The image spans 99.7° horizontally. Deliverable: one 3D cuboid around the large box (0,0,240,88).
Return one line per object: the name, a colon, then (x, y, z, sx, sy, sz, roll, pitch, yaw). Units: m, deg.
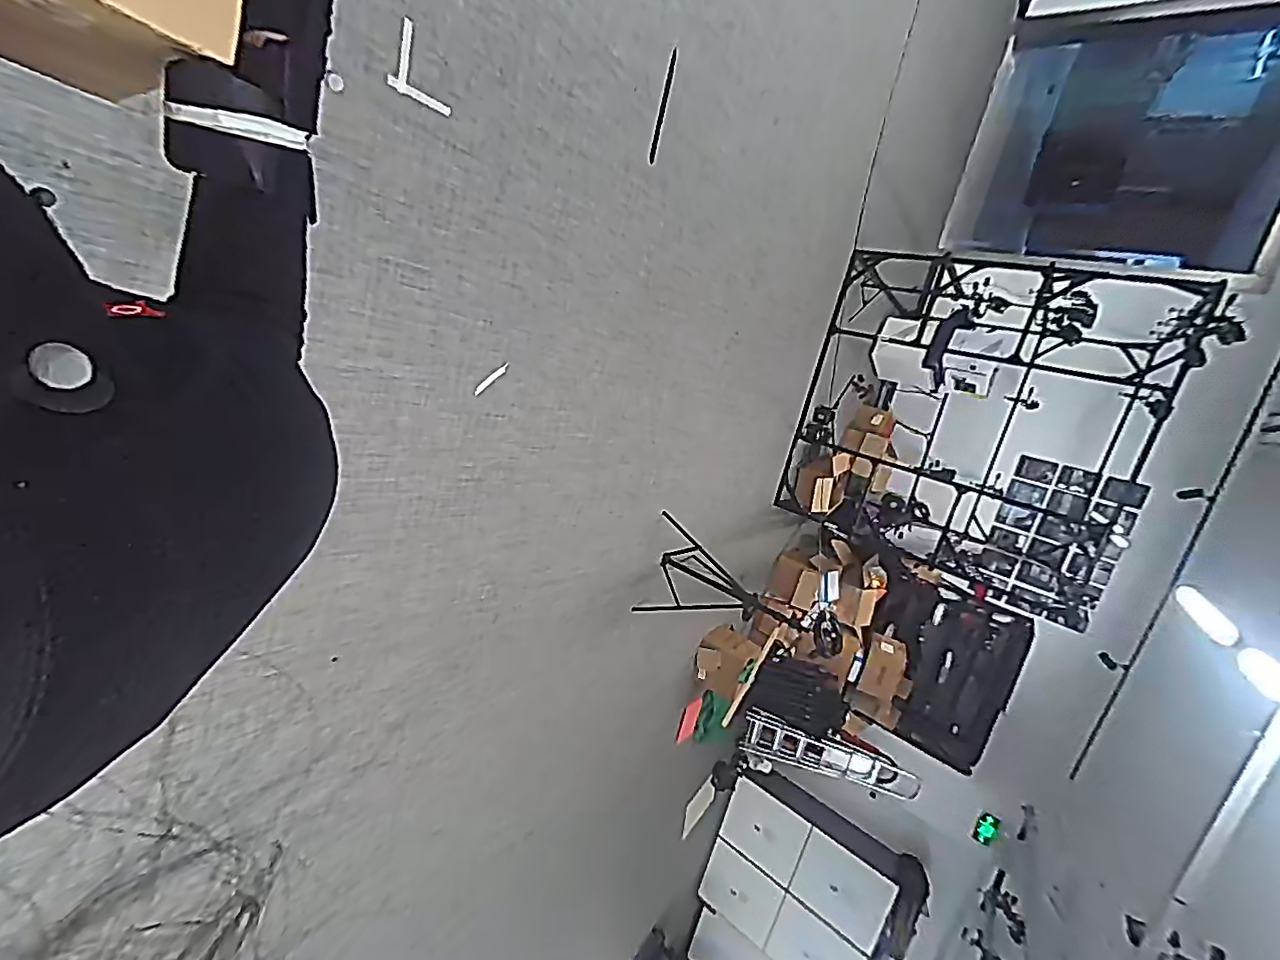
large box: (-0.456, -0.456, 0.236, 0.408, 0.320, 0.320, -2, 111, -55)
